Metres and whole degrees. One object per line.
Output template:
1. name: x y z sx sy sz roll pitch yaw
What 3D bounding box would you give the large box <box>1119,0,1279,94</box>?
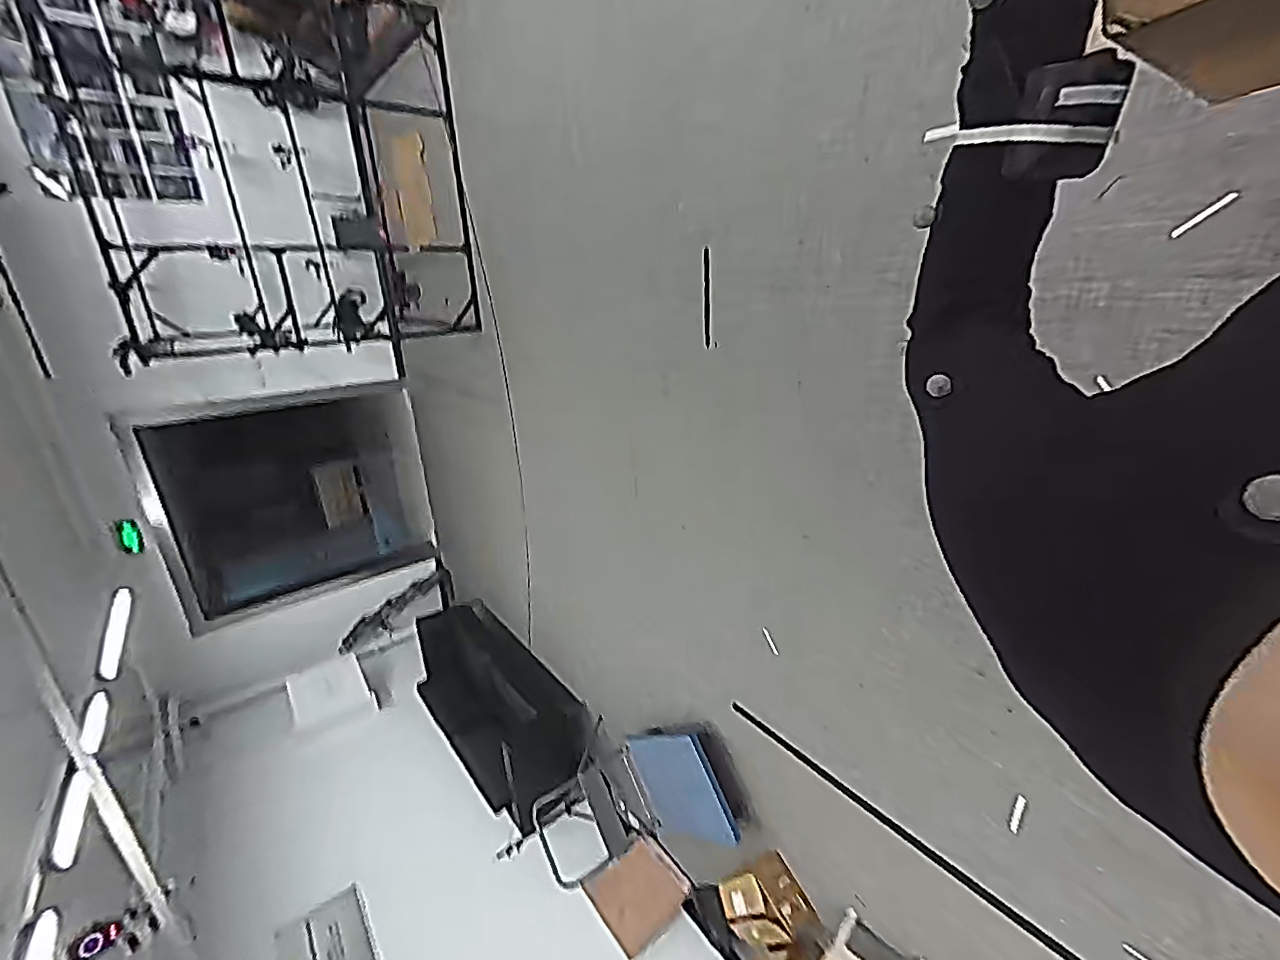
1. large box: 0.506 -0.442 0.225 0.408 0.320 0.320 11 113 52
